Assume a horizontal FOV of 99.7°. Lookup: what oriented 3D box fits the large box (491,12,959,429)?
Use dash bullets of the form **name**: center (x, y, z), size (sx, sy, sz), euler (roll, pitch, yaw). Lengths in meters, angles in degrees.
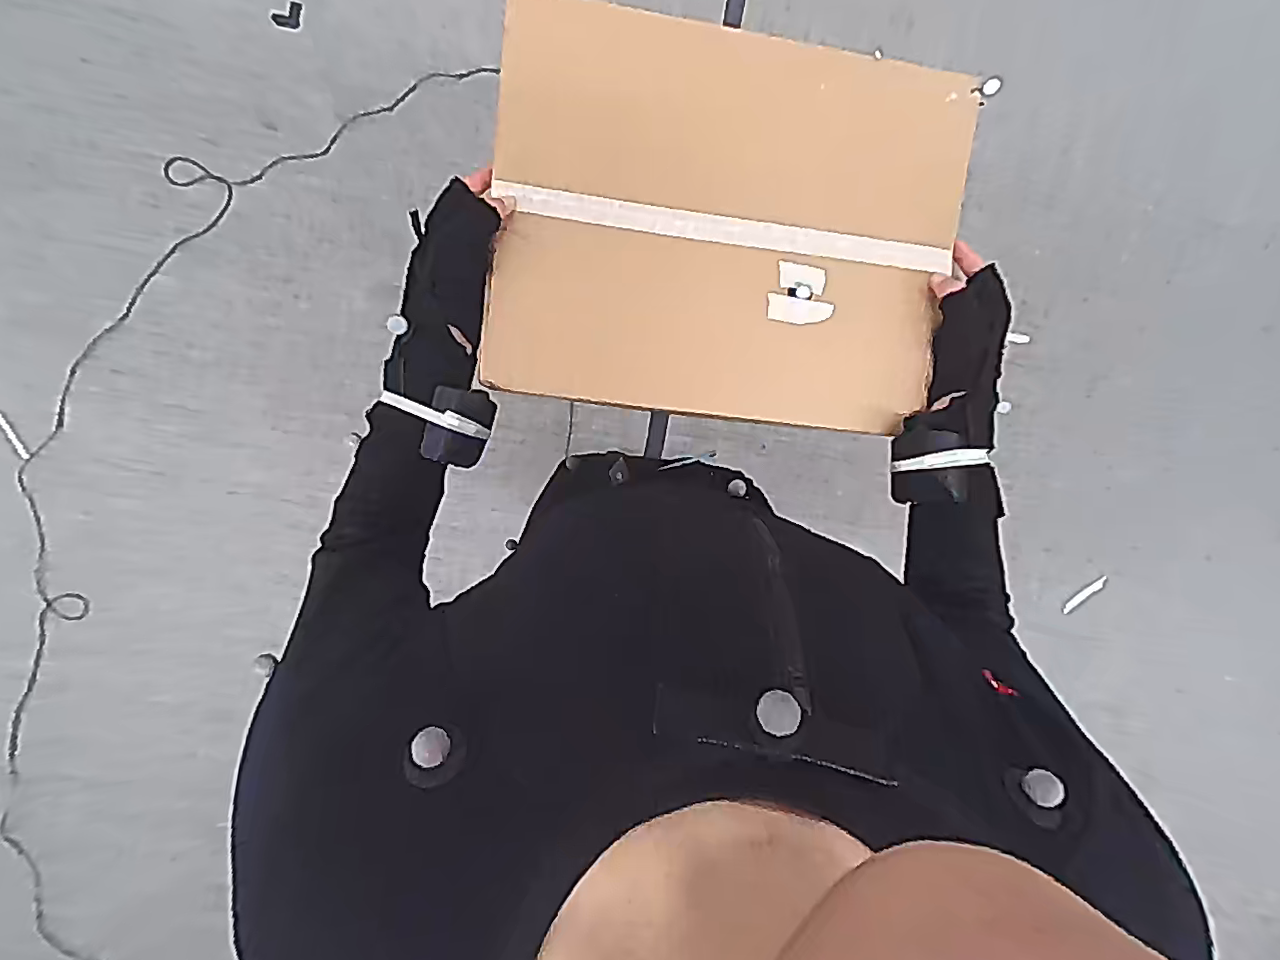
- **large box**: center (0.060, -0.235, 0.625), size (0.408, 0.320, 0.320), euler (5, 98, -7)
